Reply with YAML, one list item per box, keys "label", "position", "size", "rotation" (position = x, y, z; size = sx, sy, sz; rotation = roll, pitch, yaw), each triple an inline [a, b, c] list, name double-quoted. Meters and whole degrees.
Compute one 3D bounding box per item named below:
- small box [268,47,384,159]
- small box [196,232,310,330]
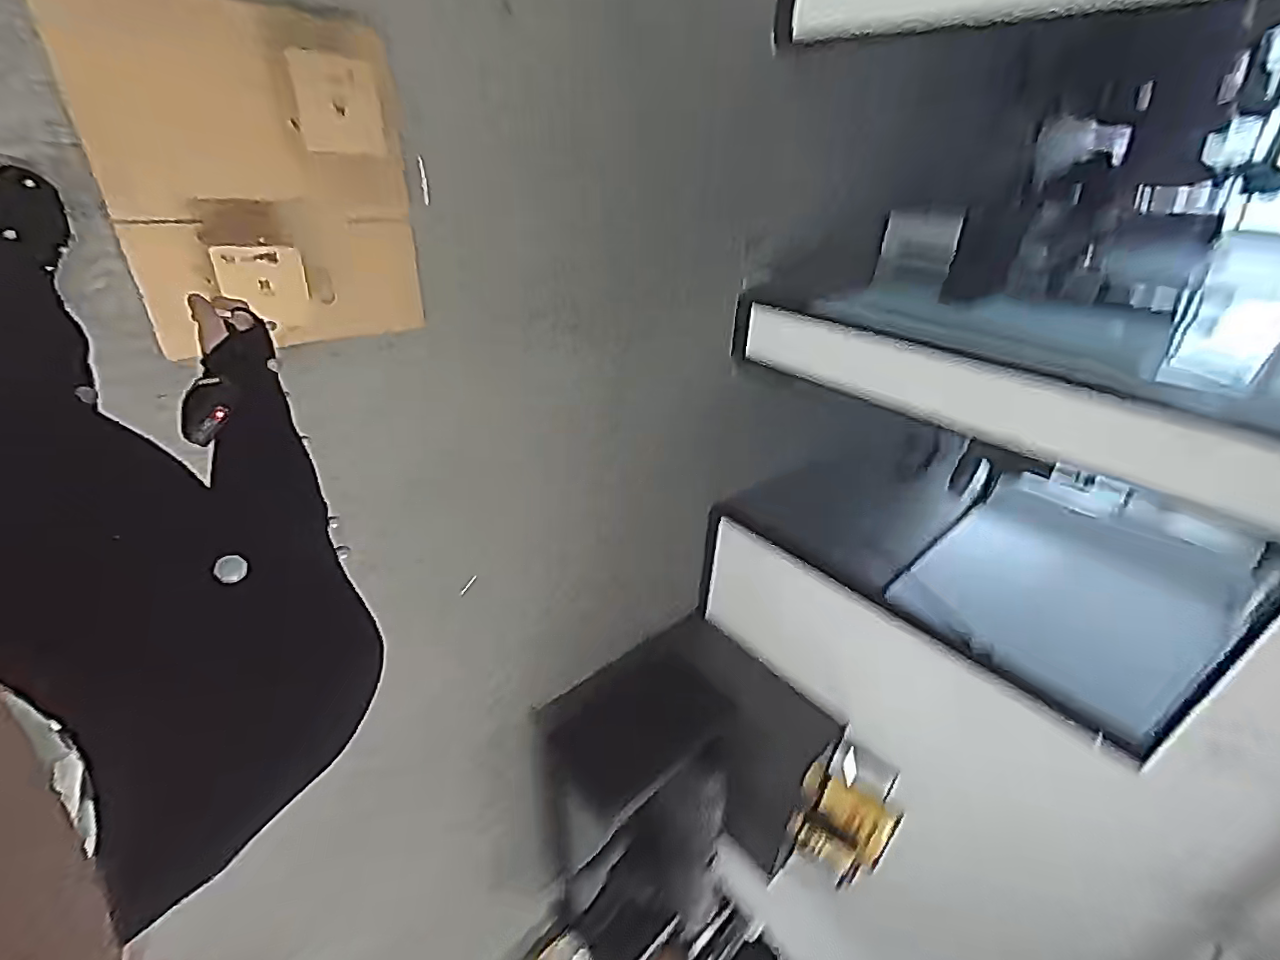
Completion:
- label: "small box"
  position: [-0.683, -0.815, 1.180]
  size: [0.168, 0.176, 0.179]
  rotation: [-20, 128, -38]
- label: "small box"
  position: [-0.876, -0.452, 1.226]
  size: [0.168, 0.176, 0.179]
  rotation: [-19, 128, -39]
